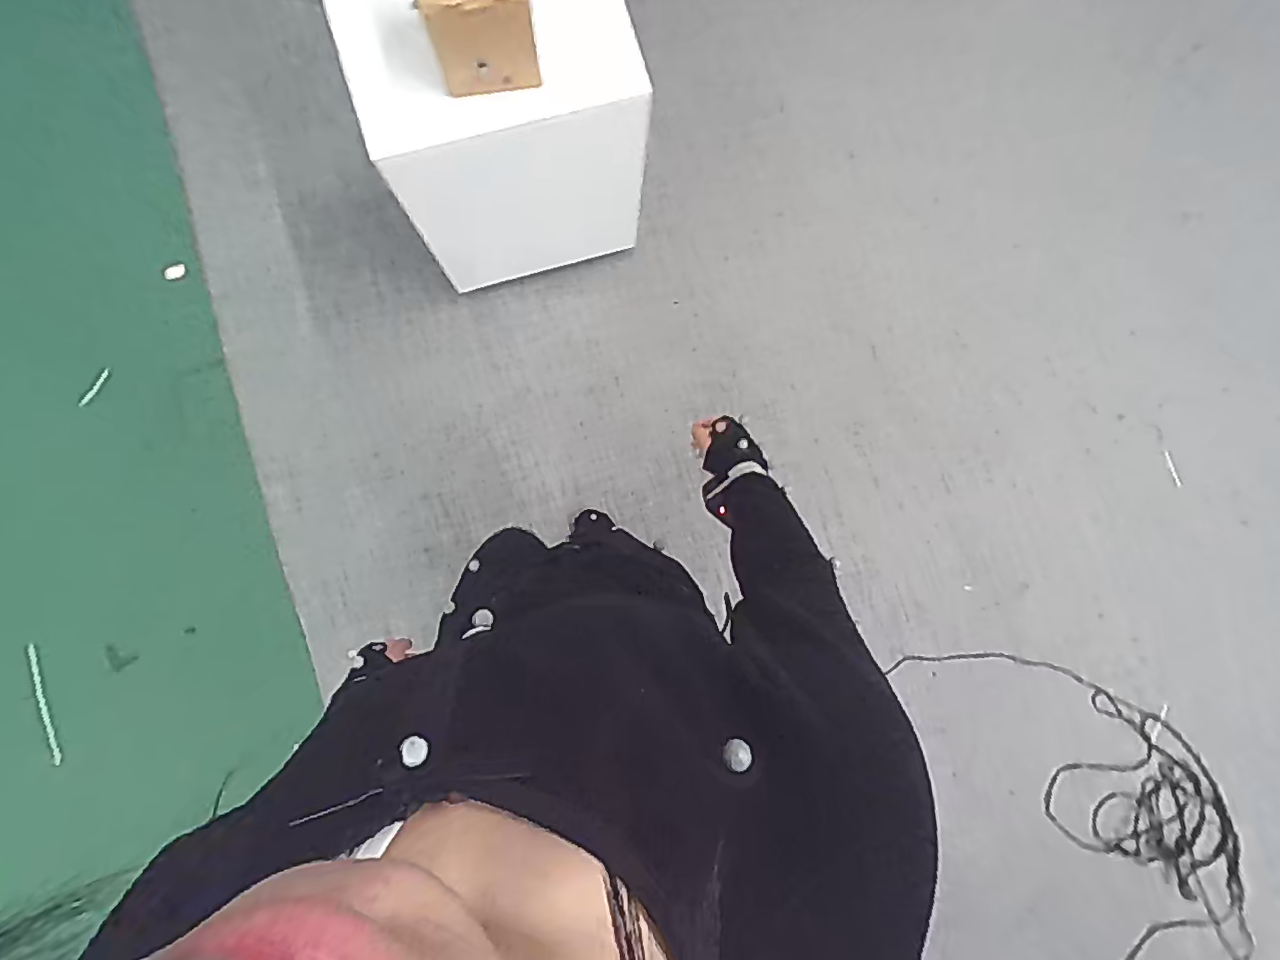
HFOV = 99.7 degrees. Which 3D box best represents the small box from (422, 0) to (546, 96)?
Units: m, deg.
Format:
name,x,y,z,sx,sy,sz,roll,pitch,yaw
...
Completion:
name,x,y,z,sx,sy,sz,roll,pitch,yaw
small box,-0.253,-0.770,0.870,0.168,0.176,0.179,-11,86,-4
